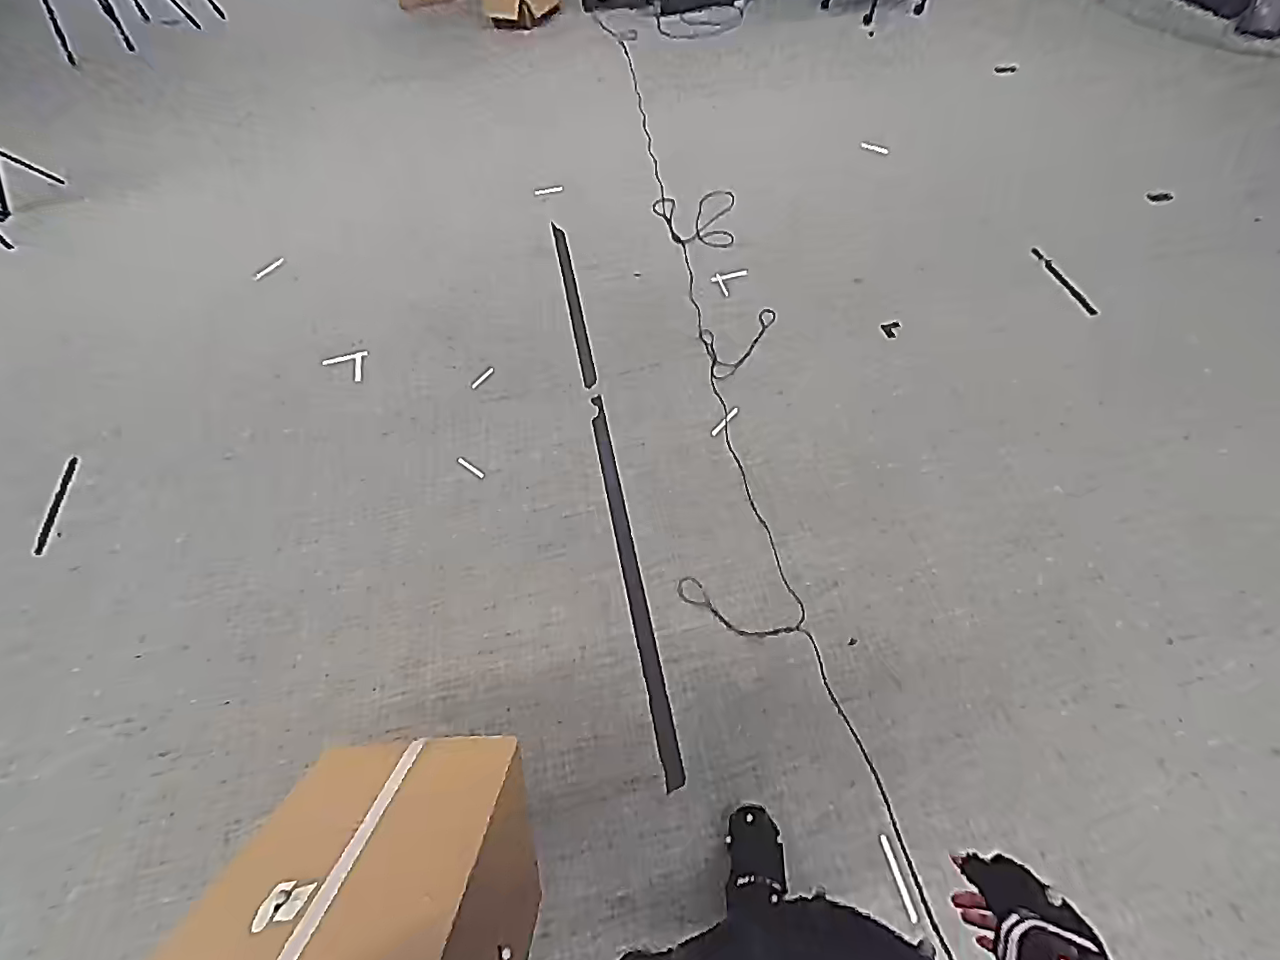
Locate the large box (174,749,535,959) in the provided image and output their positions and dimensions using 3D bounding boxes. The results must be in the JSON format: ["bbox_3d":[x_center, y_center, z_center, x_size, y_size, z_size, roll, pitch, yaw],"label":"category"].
[{"bbox_3d":[-0.337,0.627,0.708,0.320,0.320,0.408,-5,12,2],"label":"large box"}]
